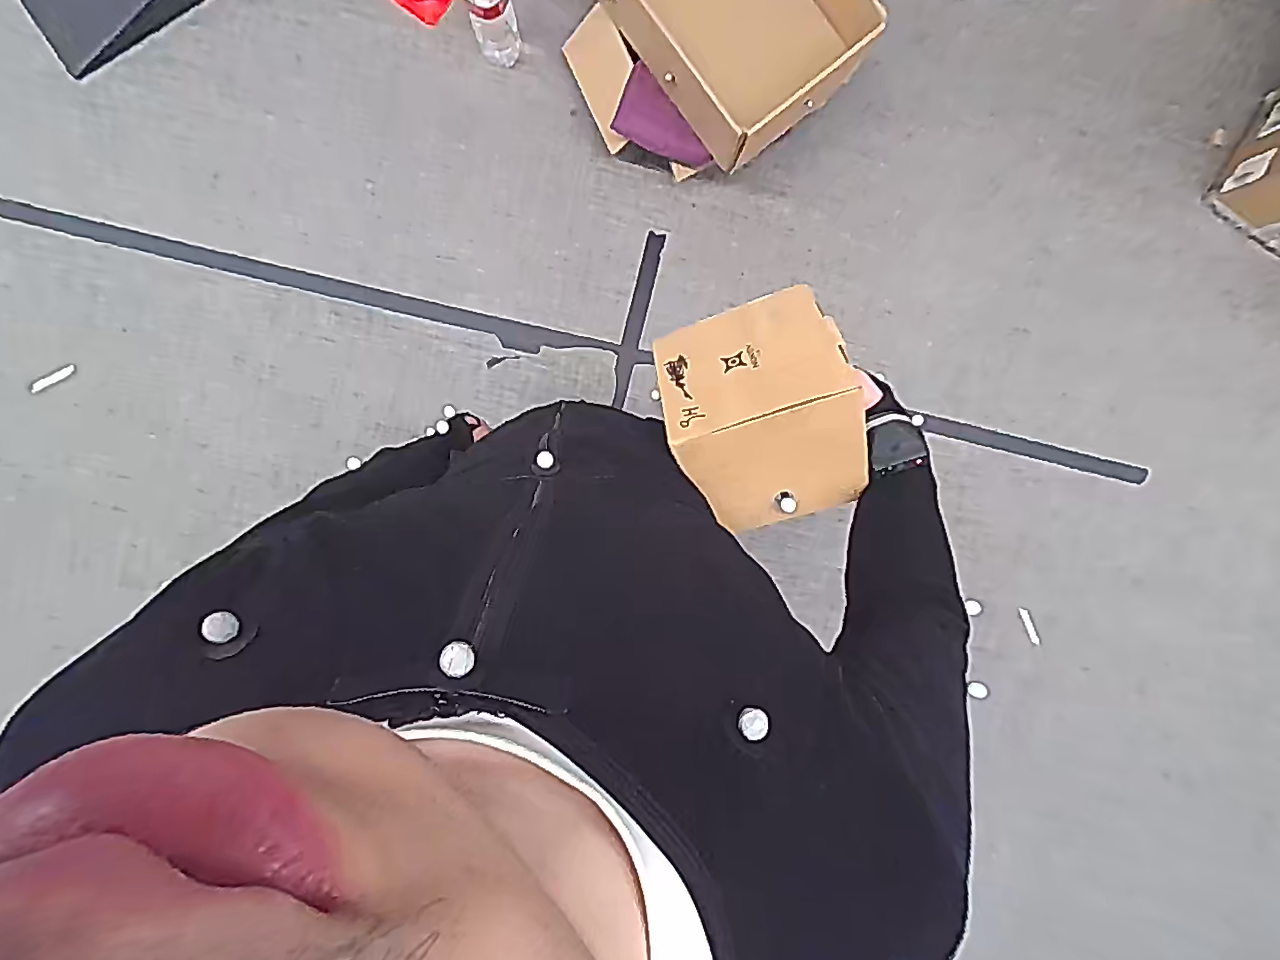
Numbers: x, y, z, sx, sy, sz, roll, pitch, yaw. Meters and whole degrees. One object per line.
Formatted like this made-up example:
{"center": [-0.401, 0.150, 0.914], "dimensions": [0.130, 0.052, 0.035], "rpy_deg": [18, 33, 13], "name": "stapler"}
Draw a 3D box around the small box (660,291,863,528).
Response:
{"center": [0.136, -0.071, 0.605], "dimensions": [0.179, 0.168, 0.176], "rpy_deg": [-17, 138, 12], "name": "small box"}
